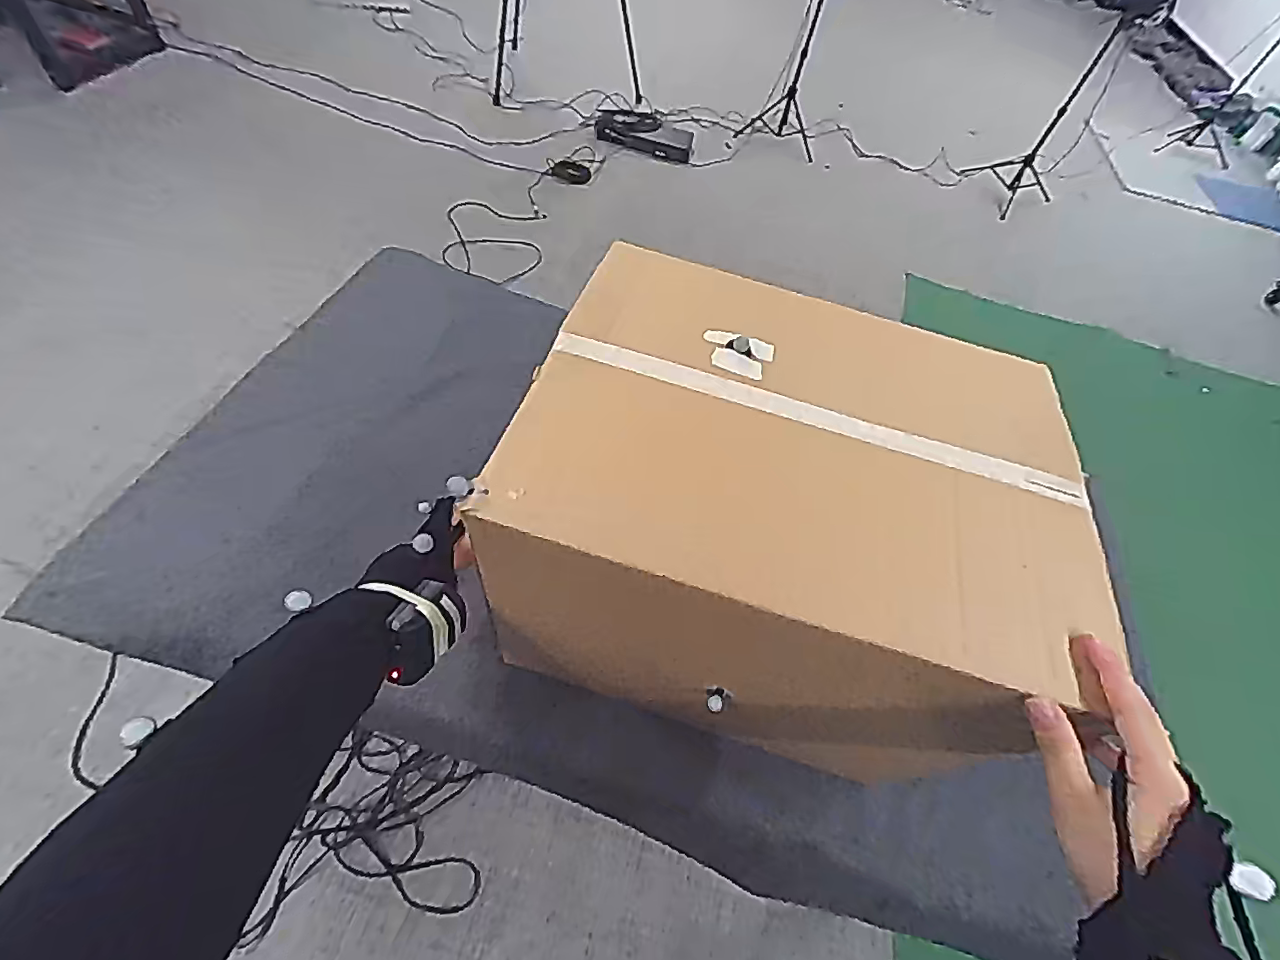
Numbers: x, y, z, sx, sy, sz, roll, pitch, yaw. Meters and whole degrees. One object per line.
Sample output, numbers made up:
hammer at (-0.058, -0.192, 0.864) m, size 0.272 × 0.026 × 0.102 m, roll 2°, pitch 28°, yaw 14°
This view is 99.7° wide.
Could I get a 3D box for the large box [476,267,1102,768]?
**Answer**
large box at (0.109, 0.052, 0.537) m, size 0.408 × 0.320 × 0.320 m, roll 16°, pitch 54°, yaw 4°
